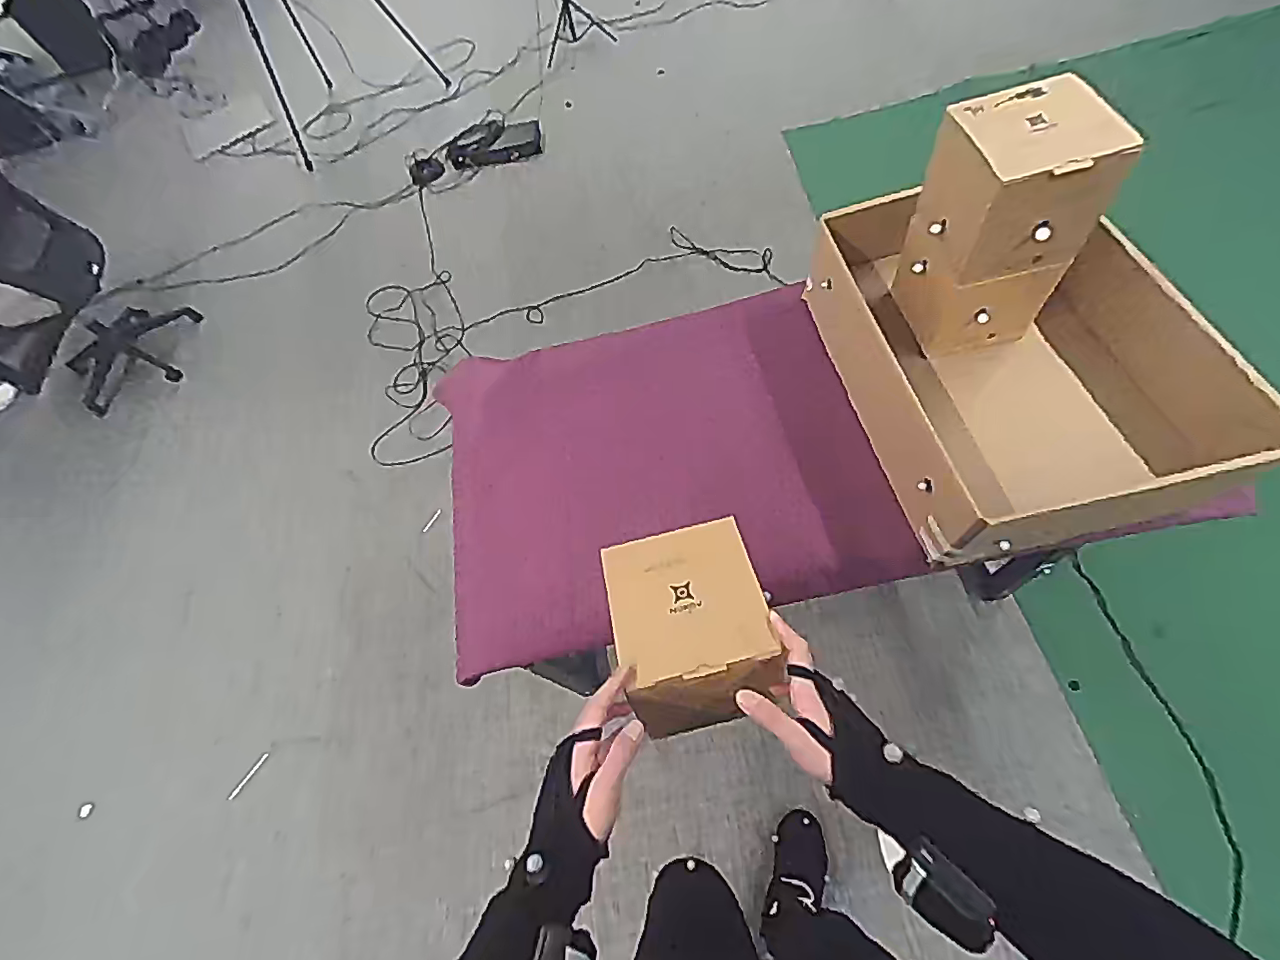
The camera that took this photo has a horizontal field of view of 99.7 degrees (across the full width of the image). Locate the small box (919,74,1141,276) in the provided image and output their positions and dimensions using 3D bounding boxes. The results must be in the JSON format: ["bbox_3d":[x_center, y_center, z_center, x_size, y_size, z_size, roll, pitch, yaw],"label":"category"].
[{"bbox_3d":[0.519,-0.410,0.754,0.168,0.176,0.179,-11,62,6],"label":"small box"}]

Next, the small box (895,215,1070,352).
[{"bbox_3d":[0.549,-0.334,0.897,0.168,0.176,0.179,-12,62,6],"label":"small box"}]

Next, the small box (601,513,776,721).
[{"bbox_3d":[0.059,0.172,0.650,0.168,0.176,0.179,-14,48,1],"label":"small box"}]
